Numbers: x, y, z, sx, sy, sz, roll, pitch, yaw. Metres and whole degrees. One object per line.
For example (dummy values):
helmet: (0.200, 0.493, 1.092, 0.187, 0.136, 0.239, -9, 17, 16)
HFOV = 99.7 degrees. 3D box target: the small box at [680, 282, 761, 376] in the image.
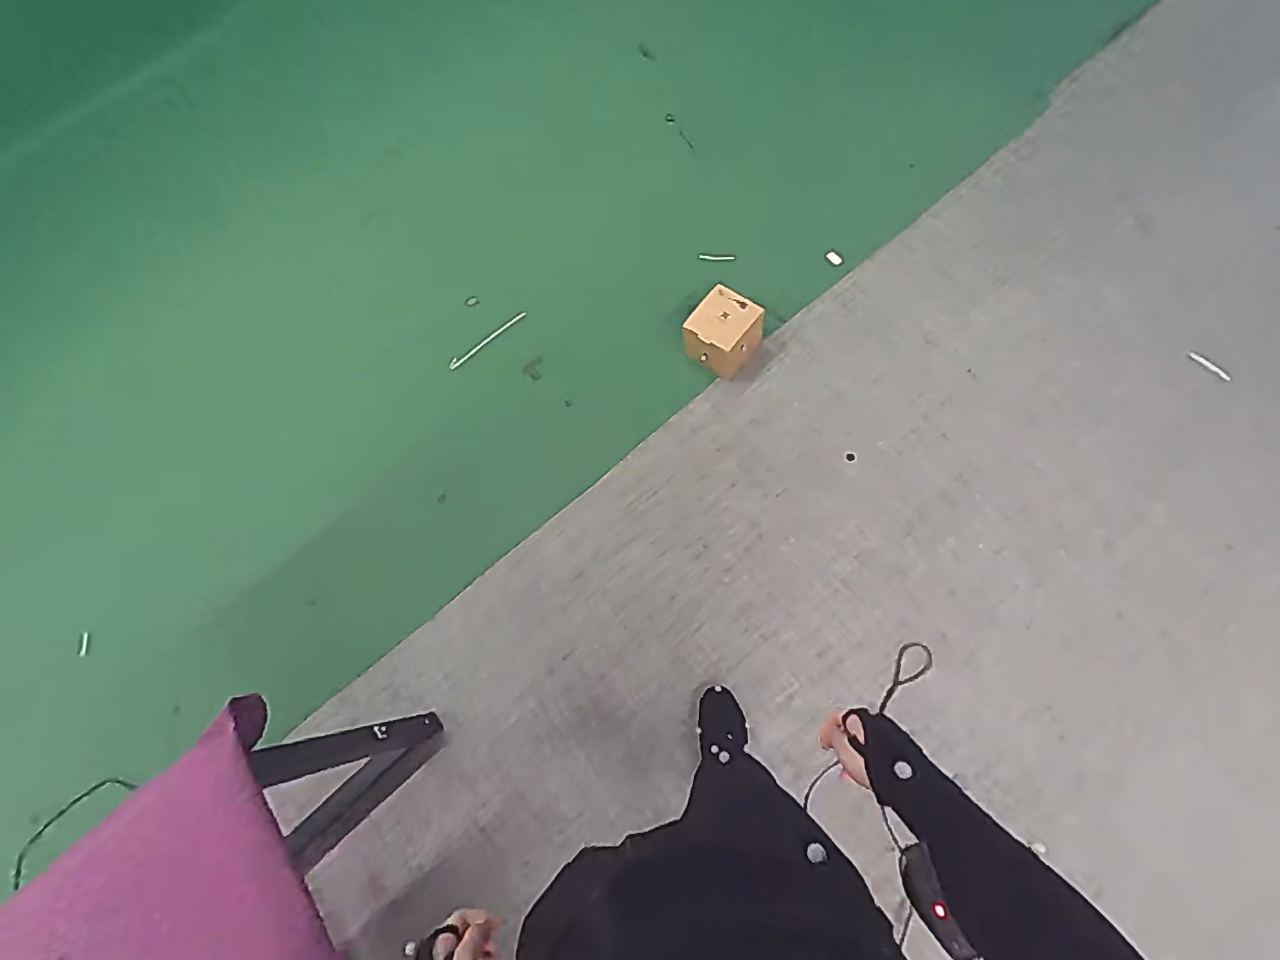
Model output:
small box: (0.244, -0.445, 1.623, 0.168, 0.176, 0.179, 37, 82, 18)
